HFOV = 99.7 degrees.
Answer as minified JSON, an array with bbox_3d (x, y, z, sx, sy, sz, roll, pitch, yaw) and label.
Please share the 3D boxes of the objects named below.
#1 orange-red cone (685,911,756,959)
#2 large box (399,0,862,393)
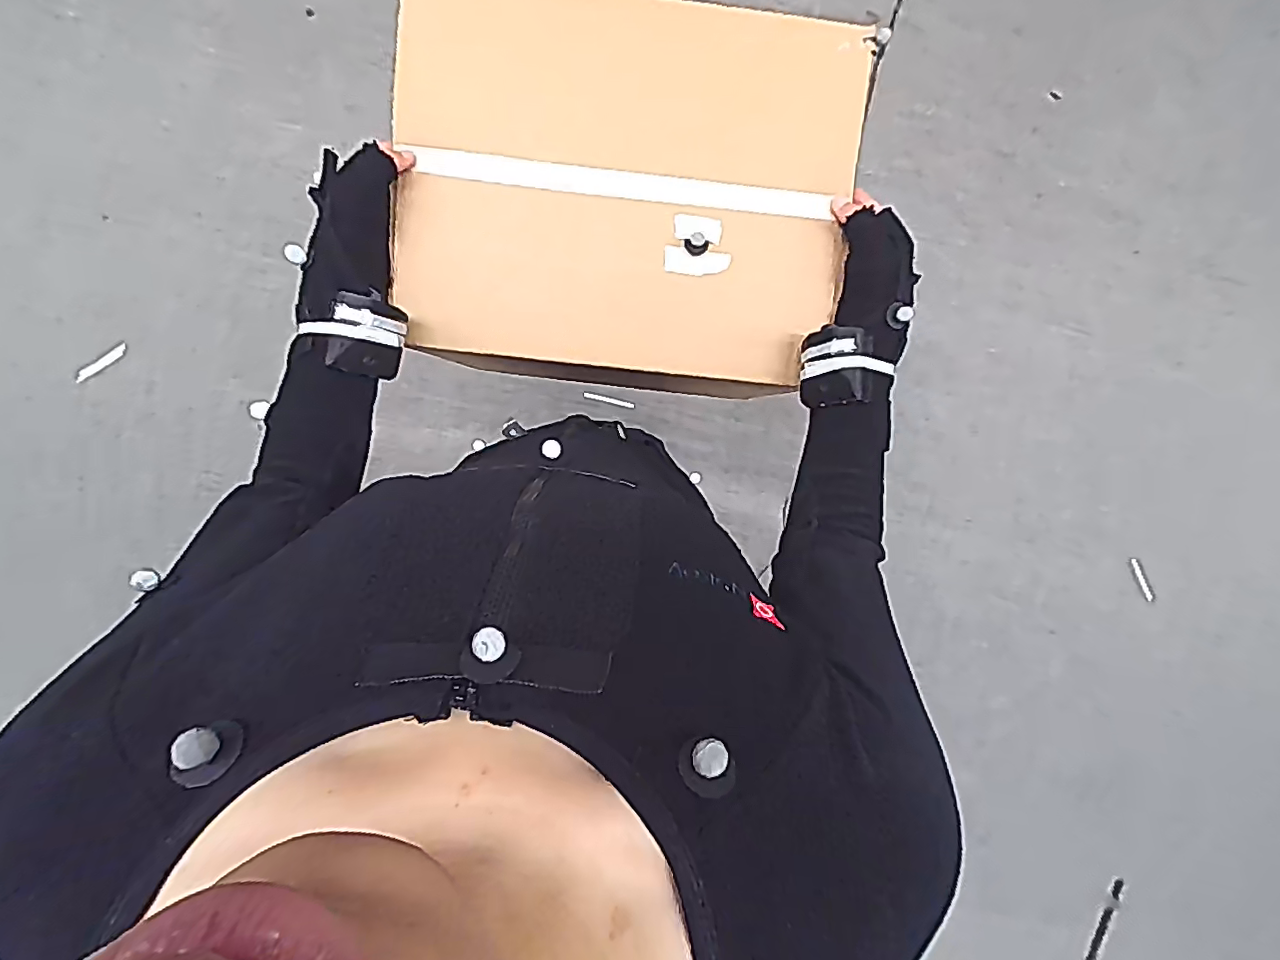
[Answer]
[{"bbox_3d":[0.251,1.423,1.473,0.198,0.360,0.199,10,95,-4],"label":"orange-red cone"},{"bbox_3d":[-0.019,-0.279,0.631,0.408,0.320,0.320,5,97,-4],"label":"large box"}]
